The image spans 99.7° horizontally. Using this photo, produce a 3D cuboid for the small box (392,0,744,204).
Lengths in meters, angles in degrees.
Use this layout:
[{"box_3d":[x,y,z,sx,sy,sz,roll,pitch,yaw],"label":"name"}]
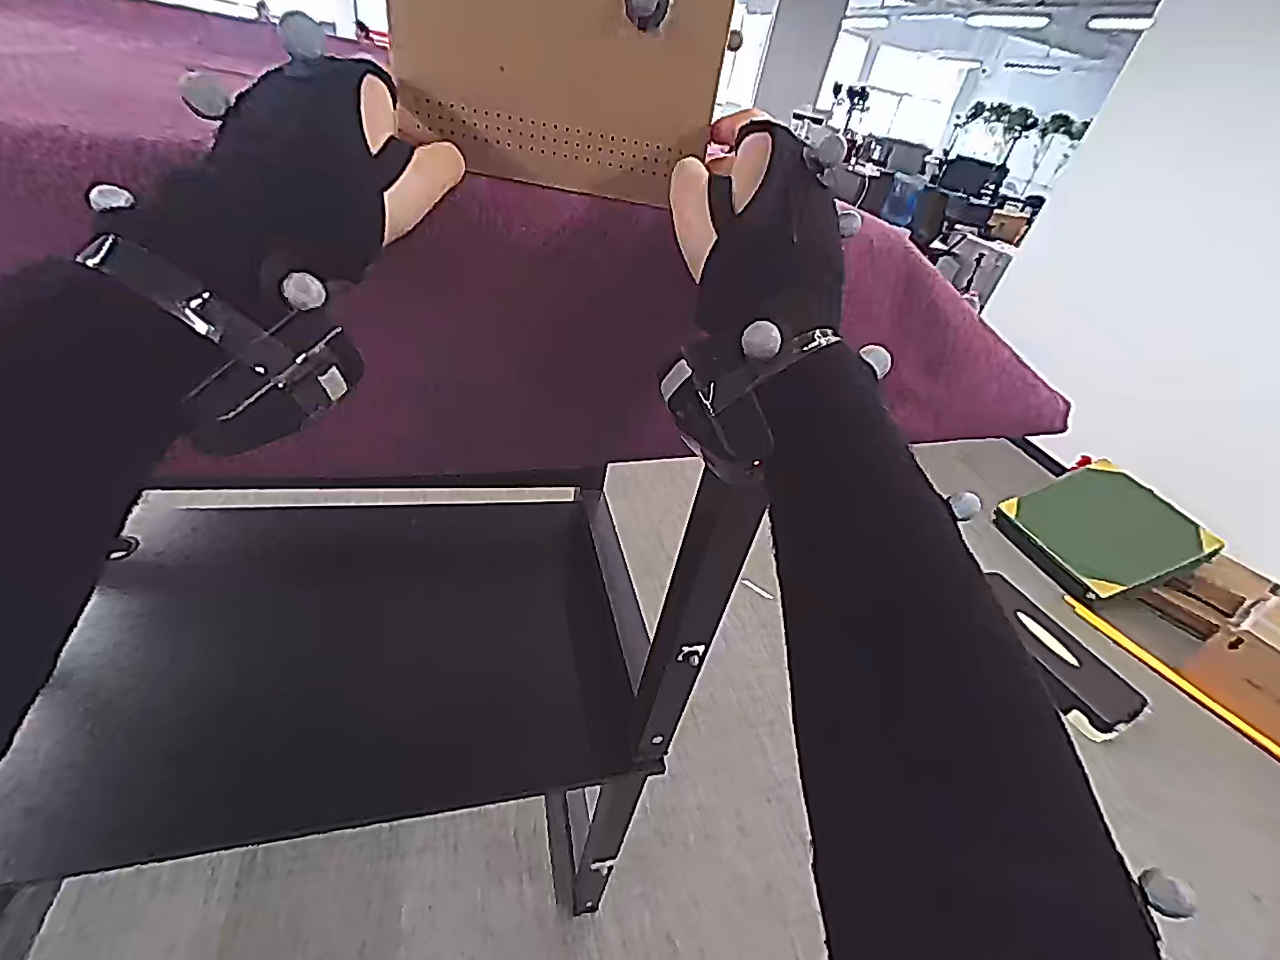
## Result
[{"box_3d":[-0.031,-0.279,0.326,0.179,0.176,0.168,10,36,-2],"label":"small box"}]
